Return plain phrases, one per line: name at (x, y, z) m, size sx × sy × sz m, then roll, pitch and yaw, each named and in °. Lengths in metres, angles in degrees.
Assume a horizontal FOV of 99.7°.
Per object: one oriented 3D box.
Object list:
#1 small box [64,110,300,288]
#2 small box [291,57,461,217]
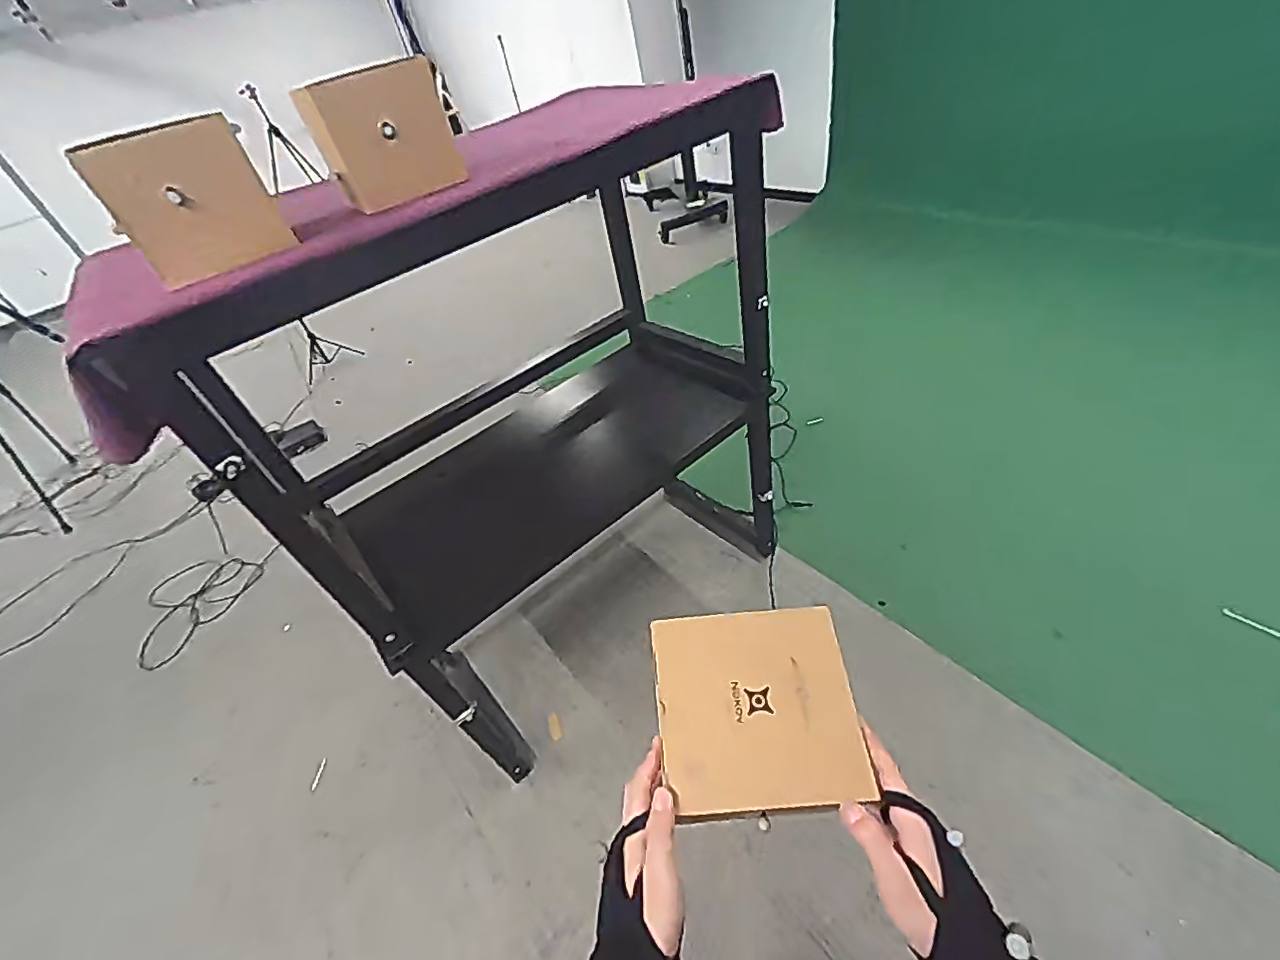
small box at (-0.615, -0.387, 0.744) m, size 0.179 × 0.176 × 0.168 m, roll -34°, pitch 46°, yaw -21°
small box at (-0.406, -0.540, 0.855) m, size 0.179 × 0.176 × 0.168 m, roll -33°, pitch 44°, yaw -19°
